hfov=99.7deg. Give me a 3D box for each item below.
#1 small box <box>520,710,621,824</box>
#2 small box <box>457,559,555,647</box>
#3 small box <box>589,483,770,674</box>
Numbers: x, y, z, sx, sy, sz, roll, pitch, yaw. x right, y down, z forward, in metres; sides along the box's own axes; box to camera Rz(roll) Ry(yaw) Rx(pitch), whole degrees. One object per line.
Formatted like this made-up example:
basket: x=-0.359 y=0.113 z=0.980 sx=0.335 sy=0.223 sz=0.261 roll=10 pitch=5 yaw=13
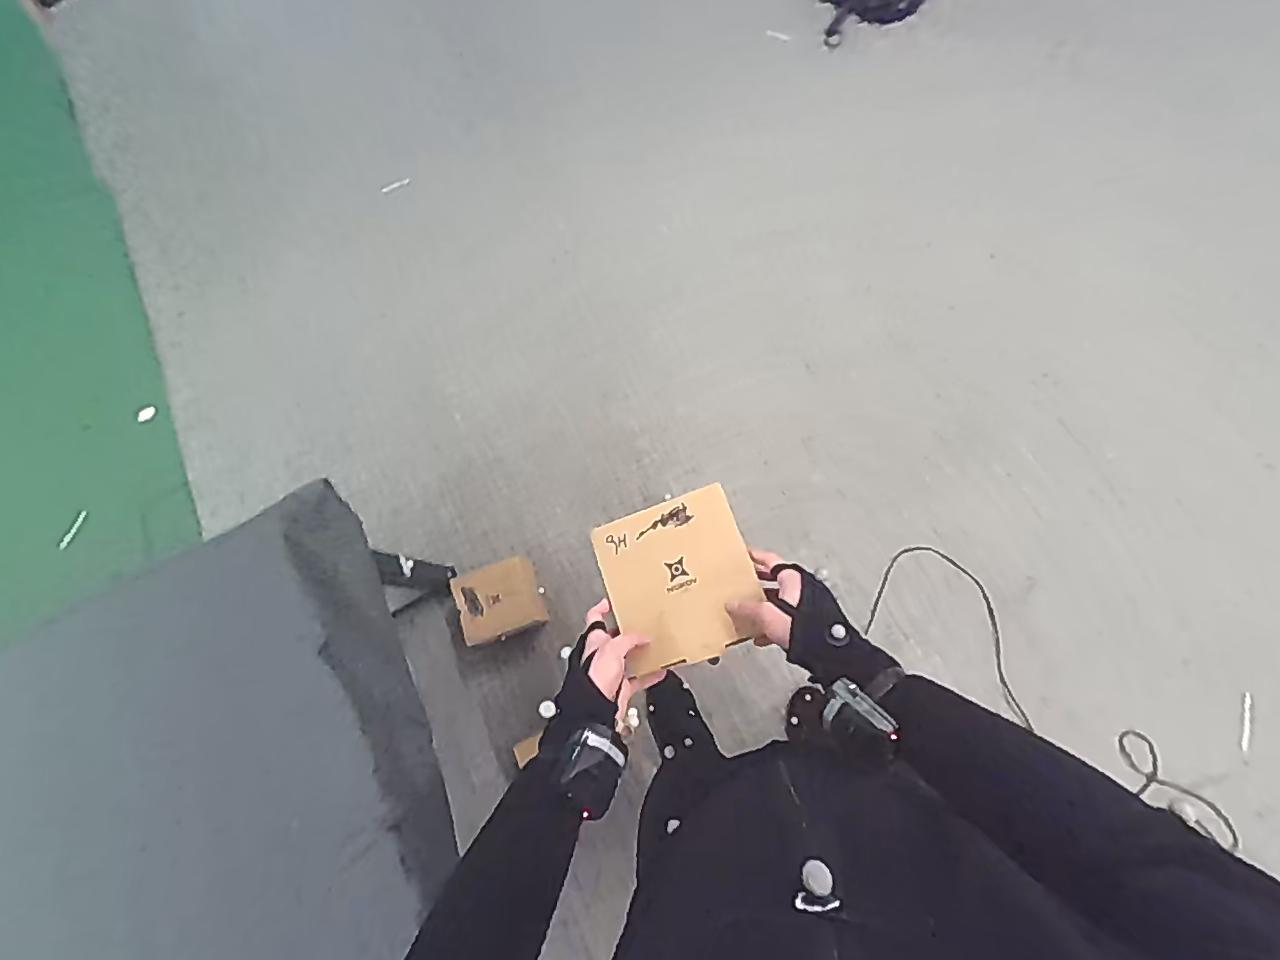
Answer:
small box: x=-0.154 y=0.661 z=1.271 sx=0.179 sy=0.176 sz=0.168 roll=-25 pitch=74 yaw=-1
small box: x=-0.334 y=0.315 z=1.370 sx=0.179 sy=0.176 sz=0.168 roll=-21 pitch=75 yaw=-3
small box: x=0.056 y=0.124 z=0.677 sx=0.168 sy=0.176 sz=0.179 roll=-20 pitch=73 yaw=6
